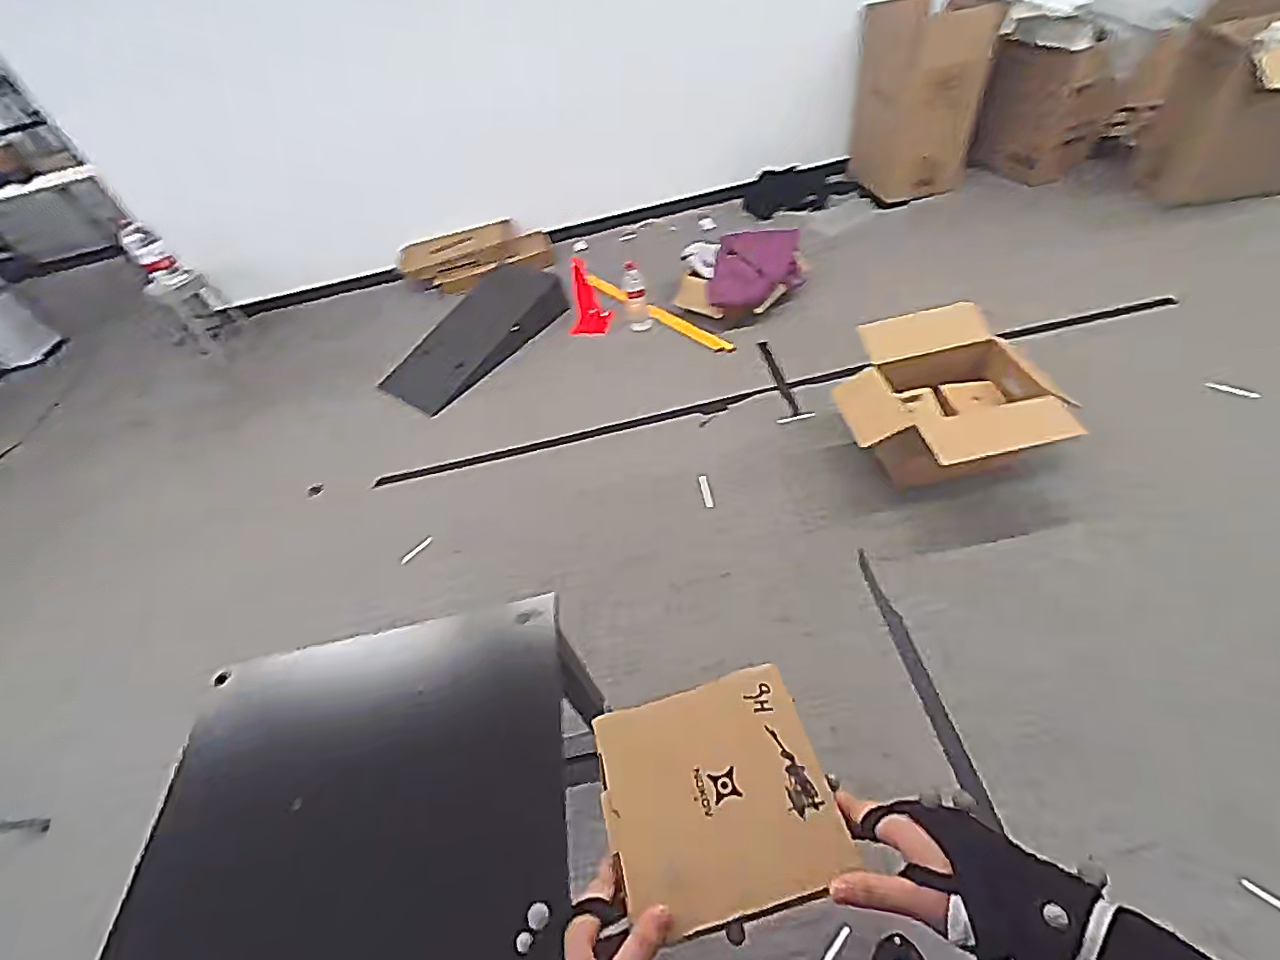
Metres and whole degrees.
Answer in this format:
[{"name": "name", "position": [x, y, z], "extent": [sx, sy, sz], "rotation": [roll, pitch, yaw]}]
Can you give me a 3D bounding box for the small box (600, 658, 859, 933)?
[{"name": "small box", "position": [0.076, 0.297, 0.504], "extent": [0.179, 0.176, 0.168], "rotation": [-16, 48, -2]}]
